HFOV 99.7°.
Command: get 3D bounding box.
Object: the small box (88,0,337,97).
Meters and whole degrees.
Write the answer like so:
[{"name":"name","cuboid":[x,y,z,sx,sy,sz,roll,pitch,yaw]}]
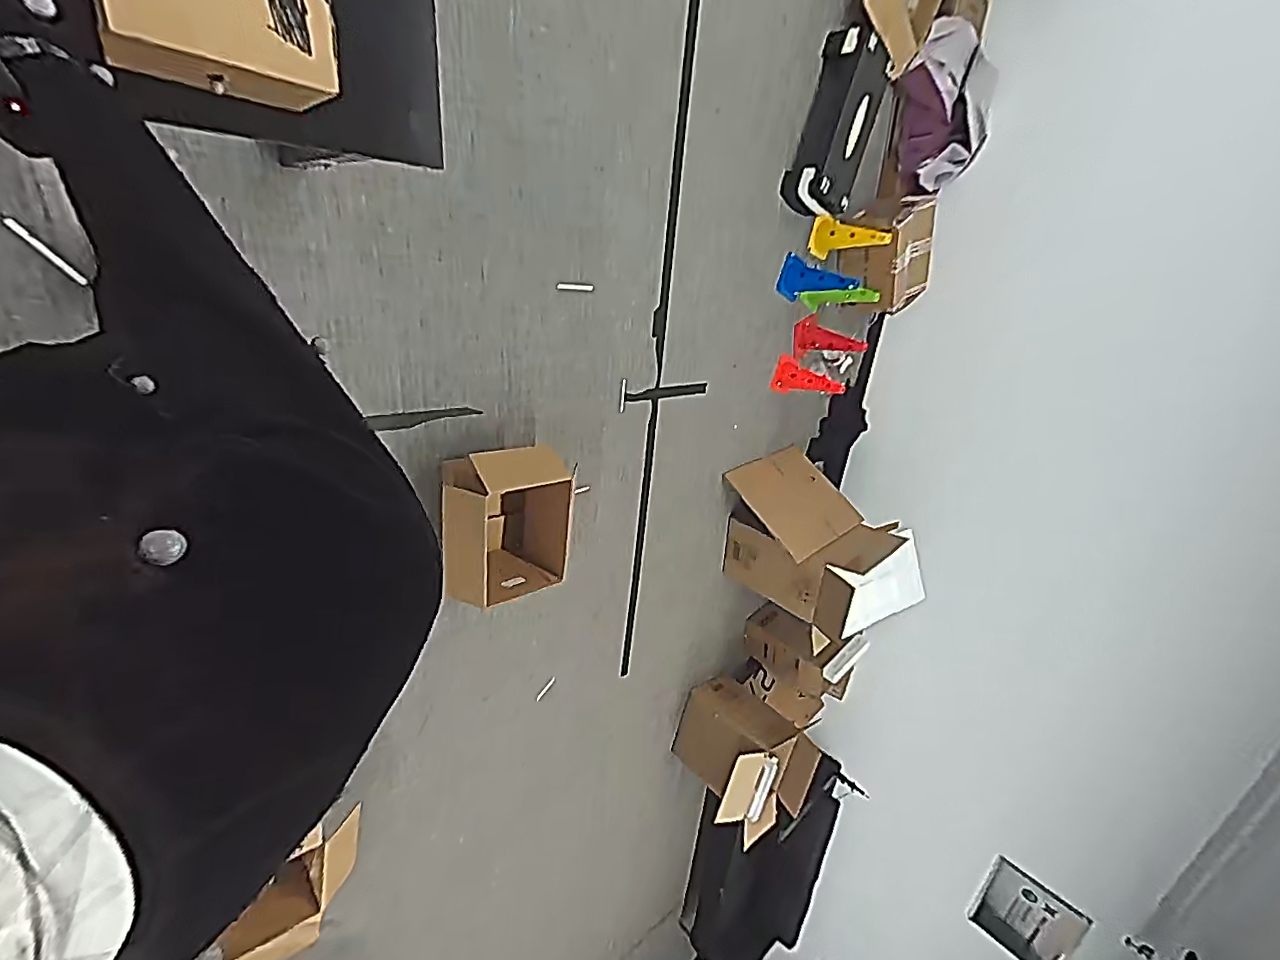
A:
[{"name":"small box","cuboid":[-0.417,-0.490,0.520,0.179,0.176,0.168,-13,119,-41]}]
